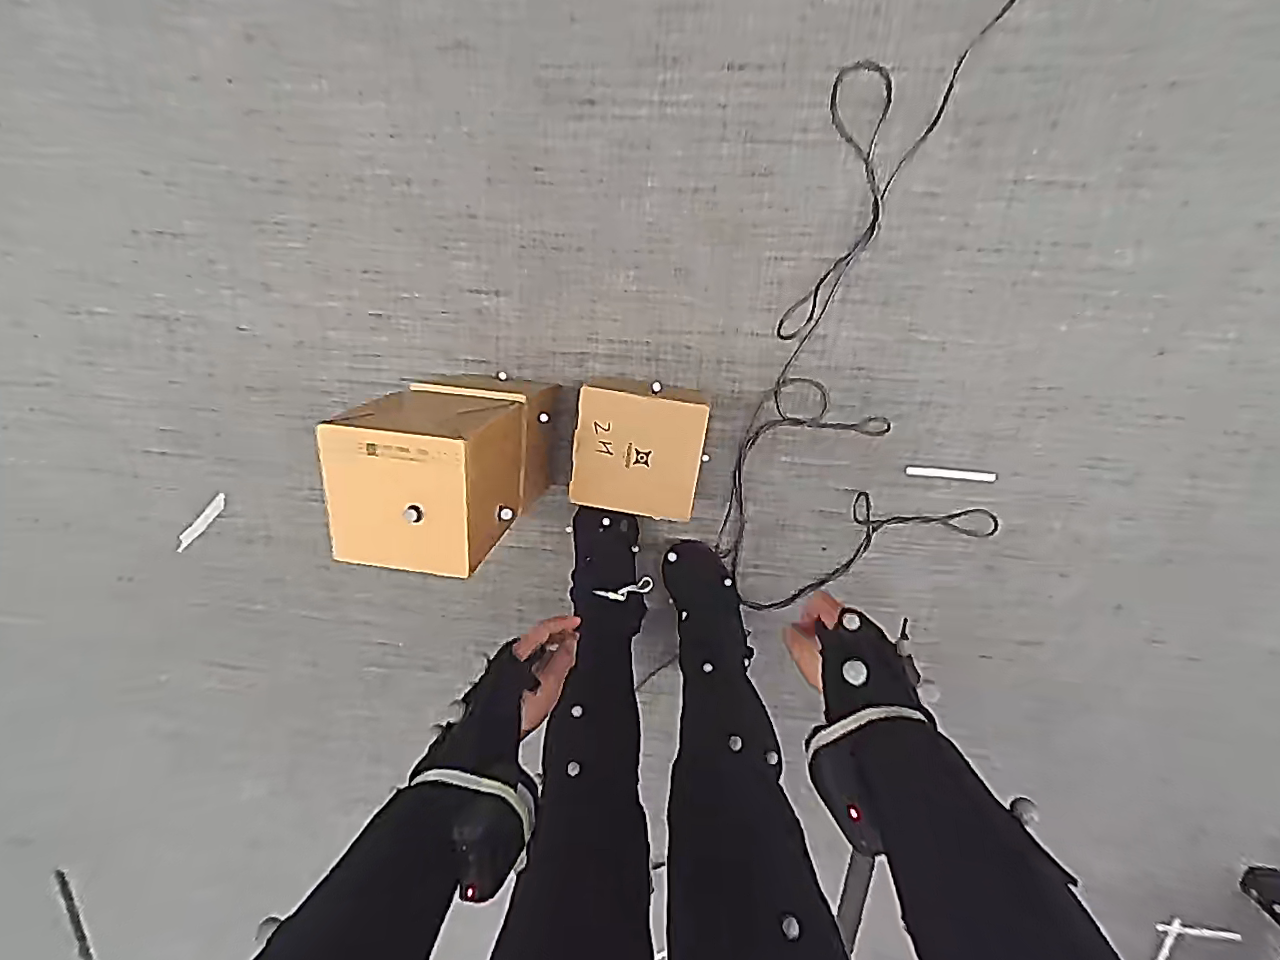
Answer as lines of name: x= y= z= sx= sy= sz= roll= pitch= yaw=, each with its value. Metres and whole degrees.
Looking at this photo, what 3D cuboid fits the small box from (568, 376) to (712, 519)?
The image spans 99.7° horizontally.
small box: x=0.004 y=-0.057 z=0.802 sx=0.179 sy=0.176 sz=0.168 roll=10 pitch=105 yaw=3
